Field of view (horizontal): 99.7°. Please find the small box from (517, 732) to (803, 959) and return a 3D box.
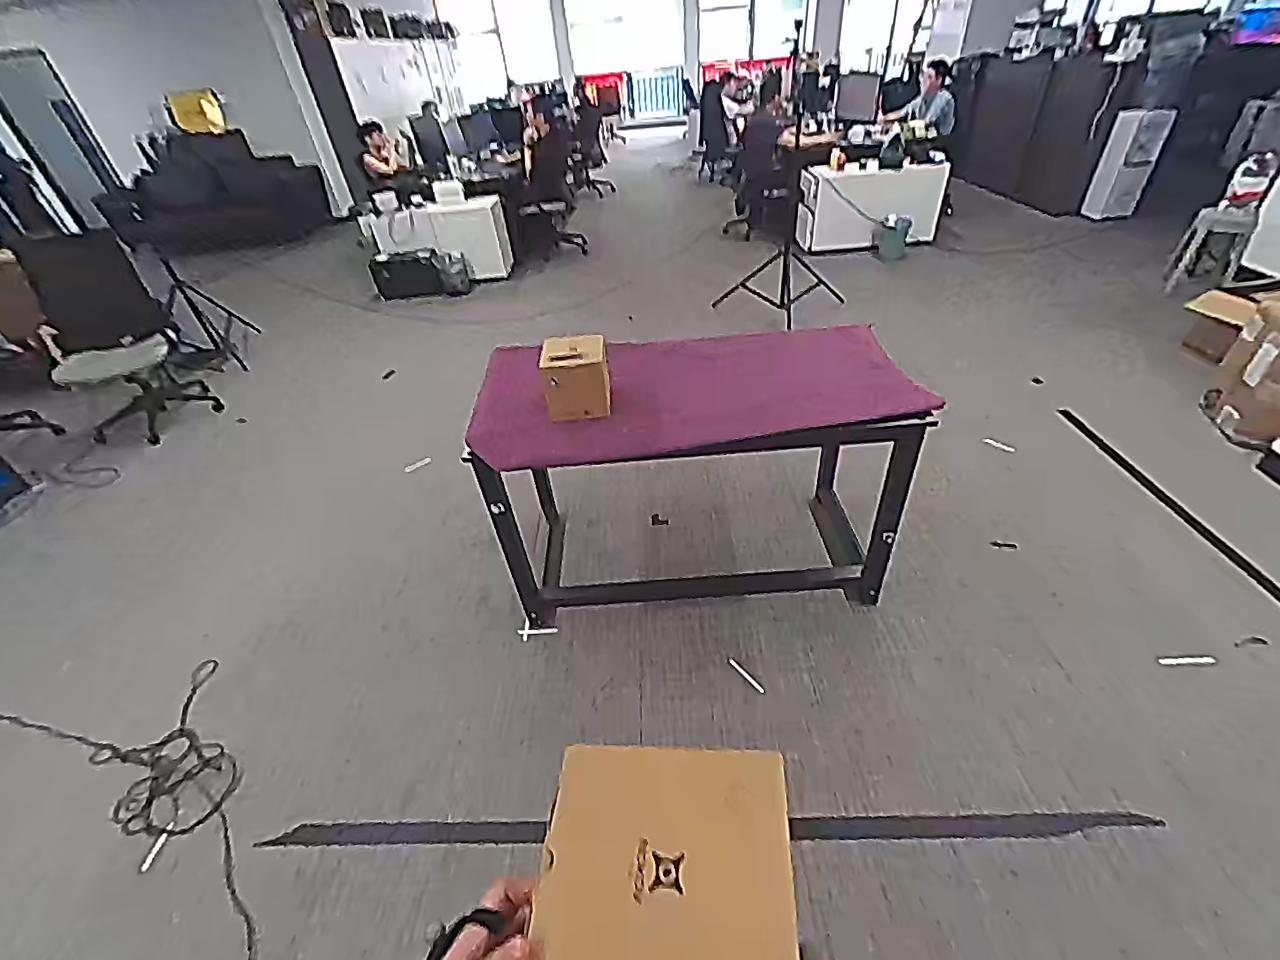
[{"bbox_3d":[0.030,0.317,0.416,0.179,0.176,0.168,-5,38,12],"label":"small box"}]
